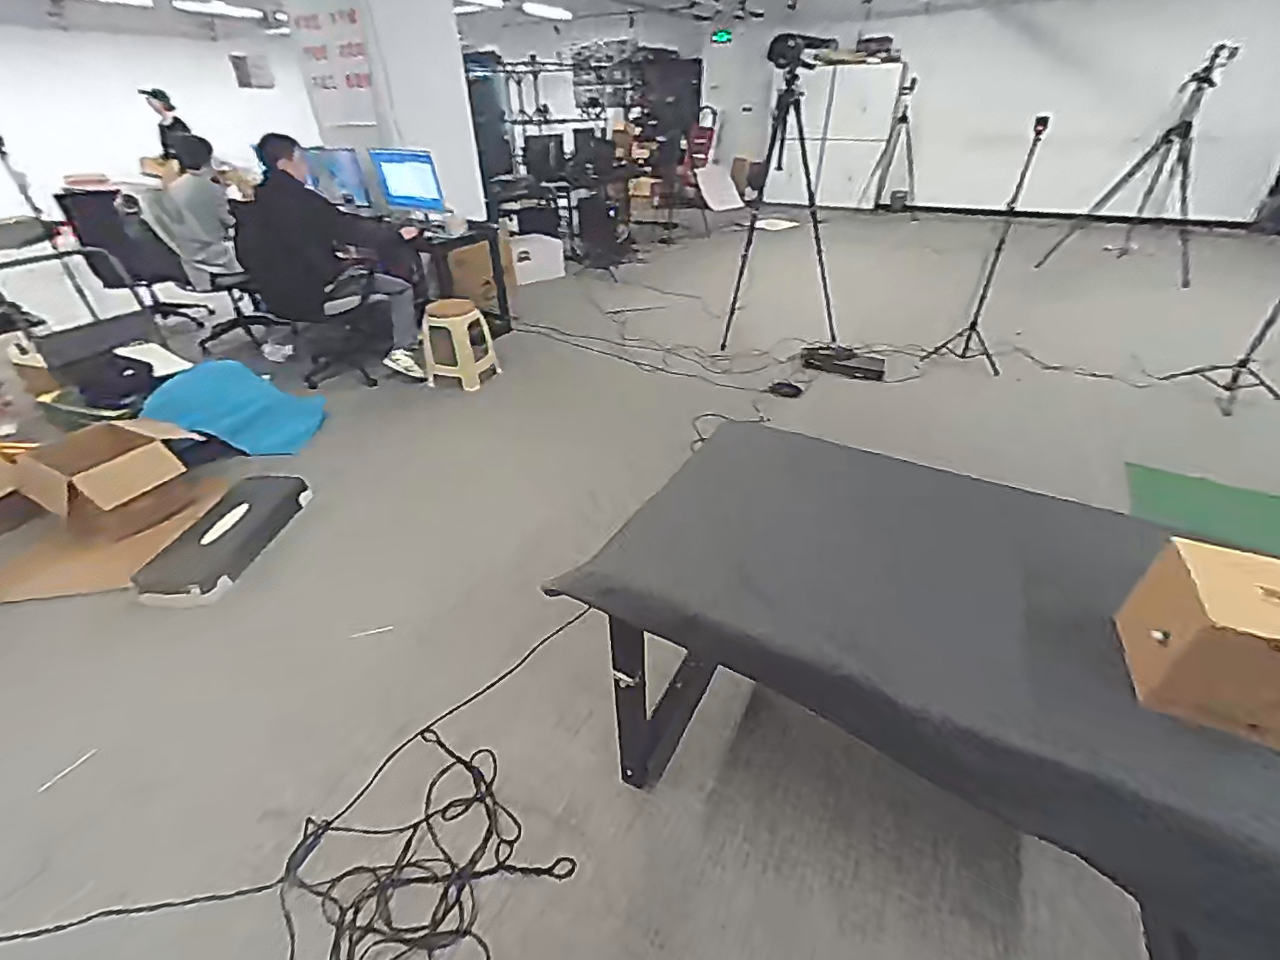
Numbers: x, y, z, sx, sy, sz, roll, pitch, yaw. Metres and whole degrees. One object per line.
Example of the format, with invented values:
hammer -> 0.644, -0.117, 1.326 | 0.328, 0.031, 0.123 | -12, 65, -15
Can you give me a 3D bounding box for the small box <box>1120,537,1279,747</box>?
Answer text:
small box -> 0.771, 0.207, 0.695 | 0.168, 0.176, 0.179 | 16, 37, 21
